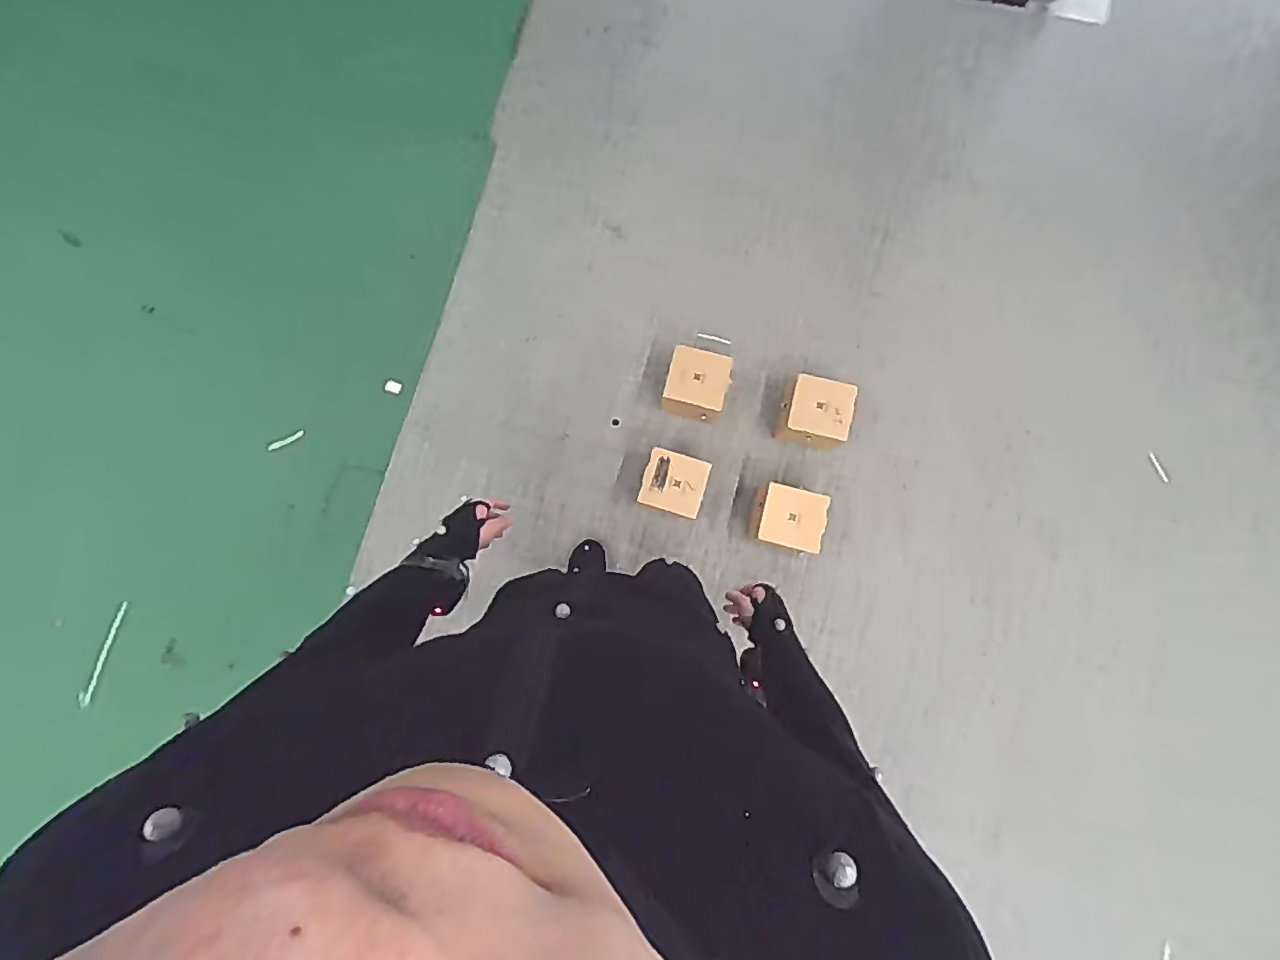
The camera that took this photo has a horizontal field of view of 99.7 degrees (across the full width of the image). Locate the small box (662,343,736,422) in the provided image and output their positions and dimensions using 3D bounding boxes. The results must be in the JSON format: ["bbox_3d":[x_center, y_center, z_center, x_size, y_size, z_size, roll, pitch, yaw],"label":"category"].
[{"bbox_3d":[0.171,-0.283,1.618,0.179,0.176,0.168,16,82,3],"label":"small box"}]

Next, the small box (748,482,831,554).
[{"bbox_3d":[0.424,0.115,1.564,0.179,0.176,0.168,14,83,2],"label":"small box"}]

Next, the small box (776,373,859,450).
[{"bbox_3d":[0.517,-0.195,1.600,0.179,0.176,0.168,15,84,2],"label":"small box"}]
